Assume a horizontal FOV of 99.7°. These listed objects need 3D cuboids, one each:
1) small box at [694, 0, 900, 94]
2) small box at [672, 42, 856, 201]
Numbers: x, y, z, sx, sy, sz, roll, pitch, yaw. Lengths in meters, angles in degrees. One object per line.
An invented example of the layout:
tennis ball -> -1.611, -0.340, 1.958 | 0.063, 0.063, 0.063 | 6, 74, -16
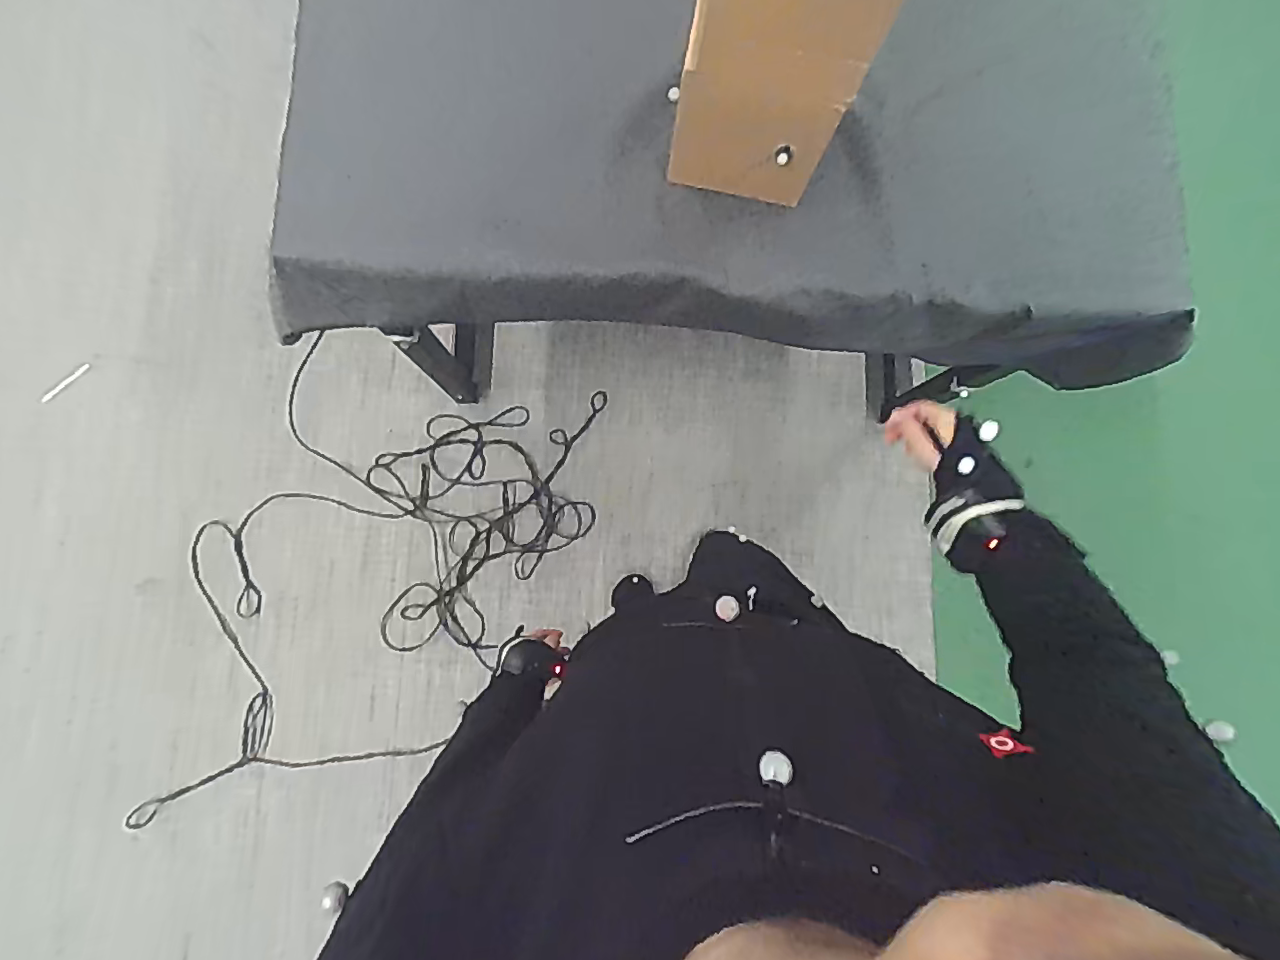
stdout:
small box -> 0.153, -0.492, 0.482 | 0.179, 0.176, 0.168 | 11, 81, -2
small box -> 0.144, -0.466, 0.642 | 0.179, 0.176, 0.168 | 11, 81, -1
